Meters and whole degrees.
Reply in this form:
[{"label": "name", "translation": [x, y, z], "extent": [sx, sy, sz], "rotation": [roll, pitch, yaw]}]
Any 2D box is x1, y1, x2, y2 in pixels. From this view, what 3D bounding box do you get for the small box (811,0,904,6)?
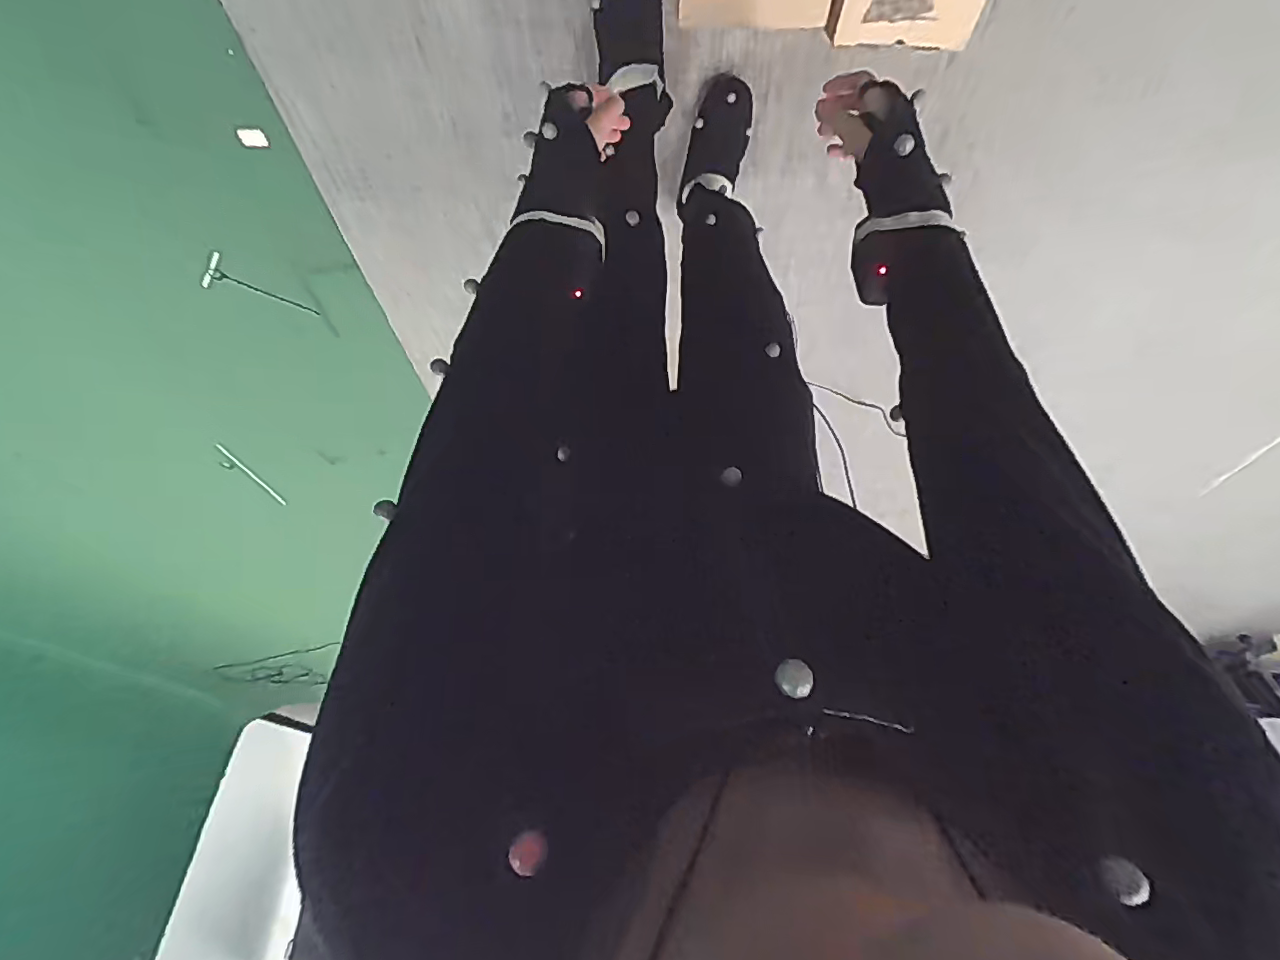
[{"label": "small box", "translation": [0.309, -0.772, 0.716], "extent": [0.168, 0.176, 0.179], "rotation": [-2, 147, 2]}]
